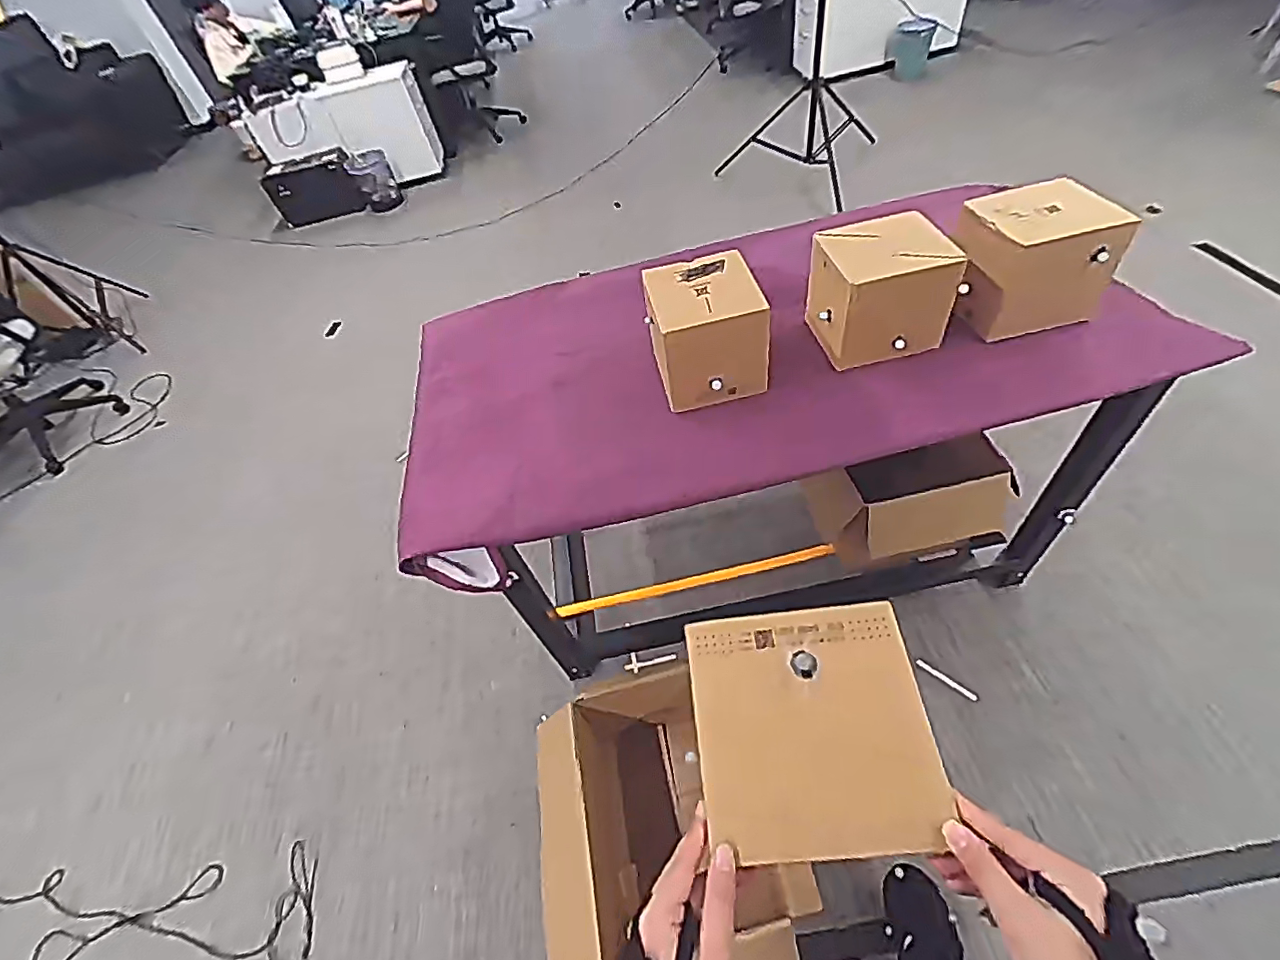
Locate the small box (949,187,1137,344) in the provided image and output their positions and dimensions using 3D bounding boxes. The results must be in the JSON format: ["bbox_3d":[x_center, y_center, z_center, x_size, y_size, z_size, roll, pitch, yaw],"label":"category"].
[{"bbox_3d":[0.635,-0.350,0.892,0.179,0.176,0.168,-12,48,2],"label":"small box"}]

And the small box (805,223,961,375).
[{"bbox_3d":[0.394,-0.307,0.906,0.179,0.176,0.168,-13,48,2],"label":"small box"}]

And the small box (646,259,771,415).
[{"bbox_3d":[0.113,-0.239,0.913,0.168,0.176,0.179,-13,50,1],"label":"small box"}]
